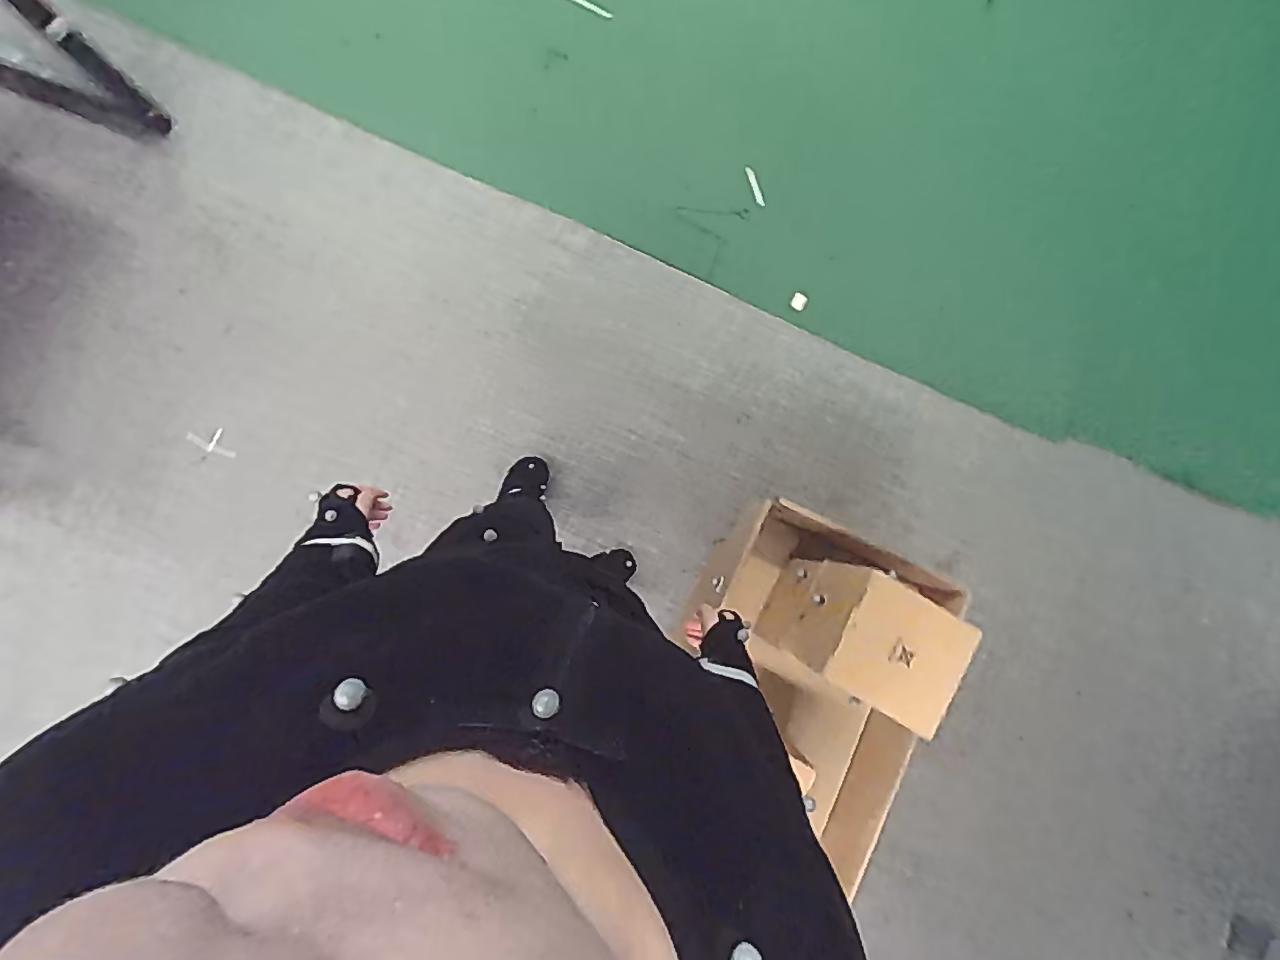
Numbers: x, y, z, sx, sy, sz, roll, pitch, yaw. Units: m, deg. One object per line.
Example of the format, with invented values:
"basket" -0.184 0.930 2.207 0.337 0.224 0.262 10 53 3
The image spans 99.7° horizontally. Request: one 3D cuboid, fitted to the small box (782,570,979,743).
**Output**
"small box" 0.345 0.247 0.810 0.179 0.176 0.168 31 84 -1
